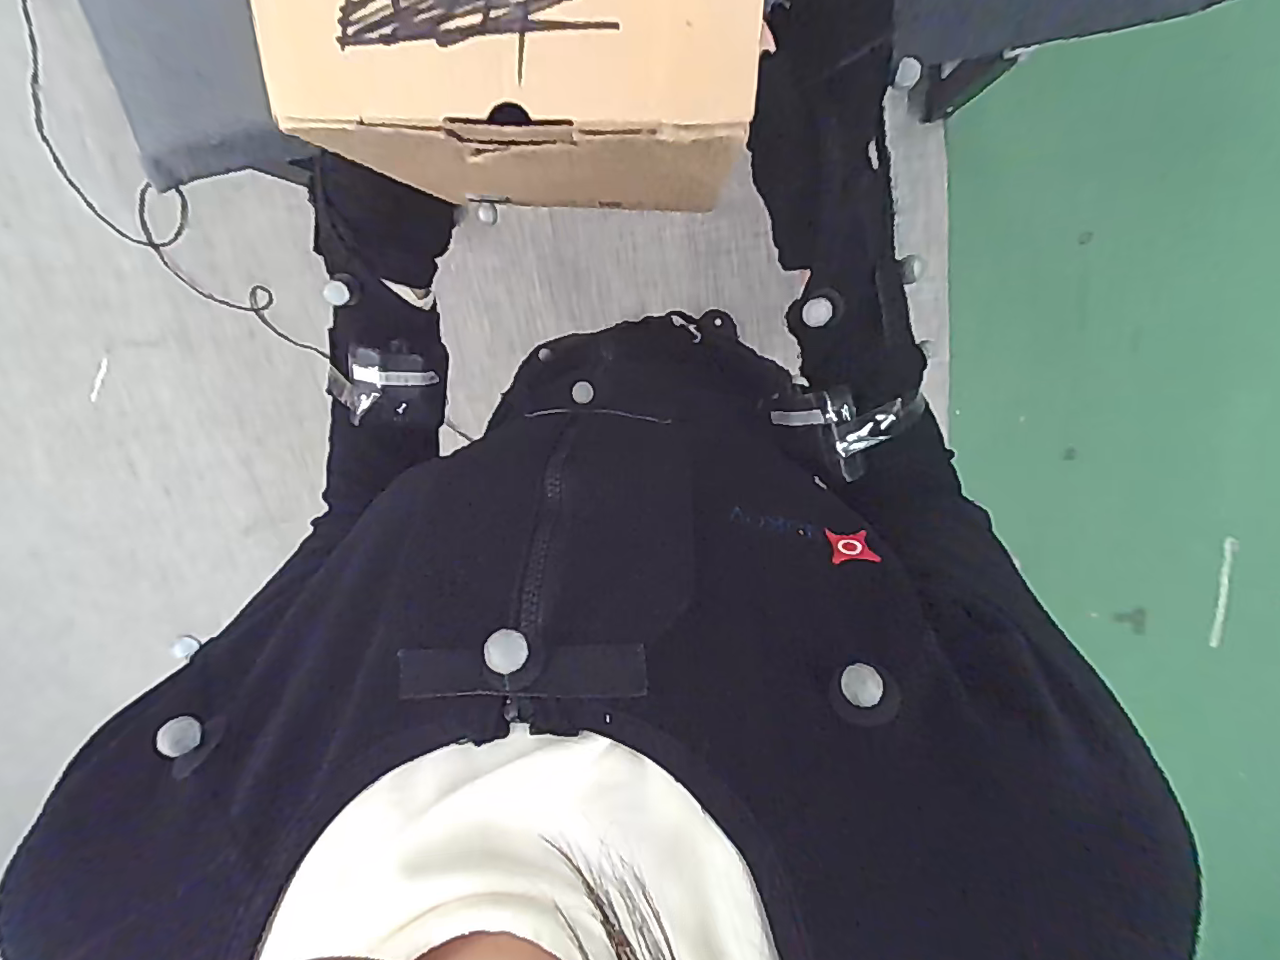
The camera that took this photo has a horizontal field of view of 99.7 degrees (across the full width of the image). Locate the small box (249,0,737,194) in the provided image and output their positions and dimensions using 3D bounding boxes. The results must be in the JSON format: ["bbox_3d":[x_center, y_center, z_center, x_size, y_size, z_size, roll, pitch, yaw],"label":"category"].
[{"bbox_3d":[-0.042,-0.235,0.236,0.168,0.176,0.179,3,108,2],"label":"small box"}]
